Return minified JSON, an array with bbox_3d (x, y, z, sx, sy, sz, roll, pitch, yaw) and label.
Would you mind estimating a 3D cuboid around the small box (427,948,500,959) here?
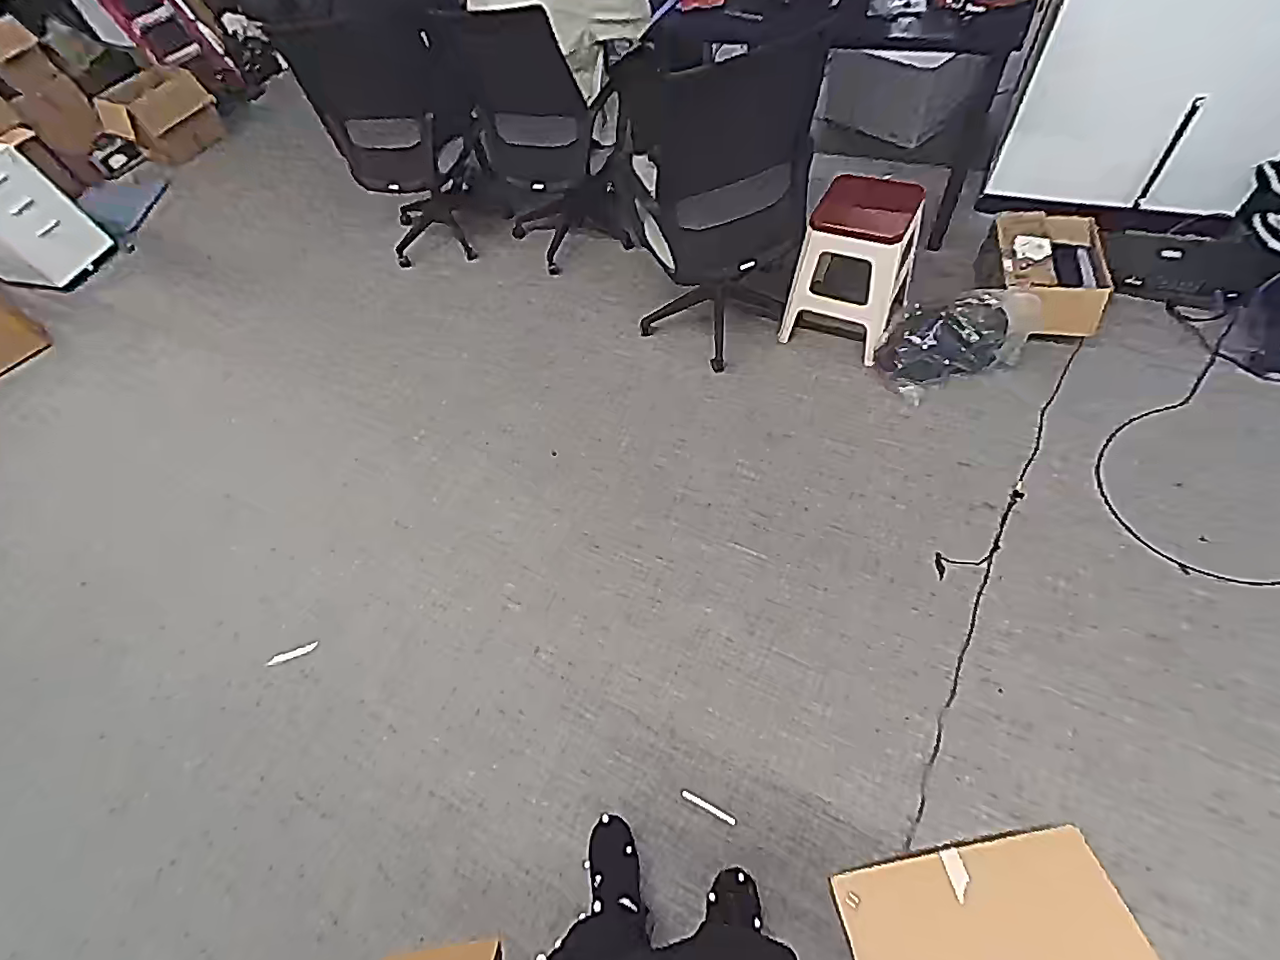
[{"bbox_3d":[-0.262,0.742,0.666,0.168,0.179,0.176,-8,86,-1],"label":"small box"}]
